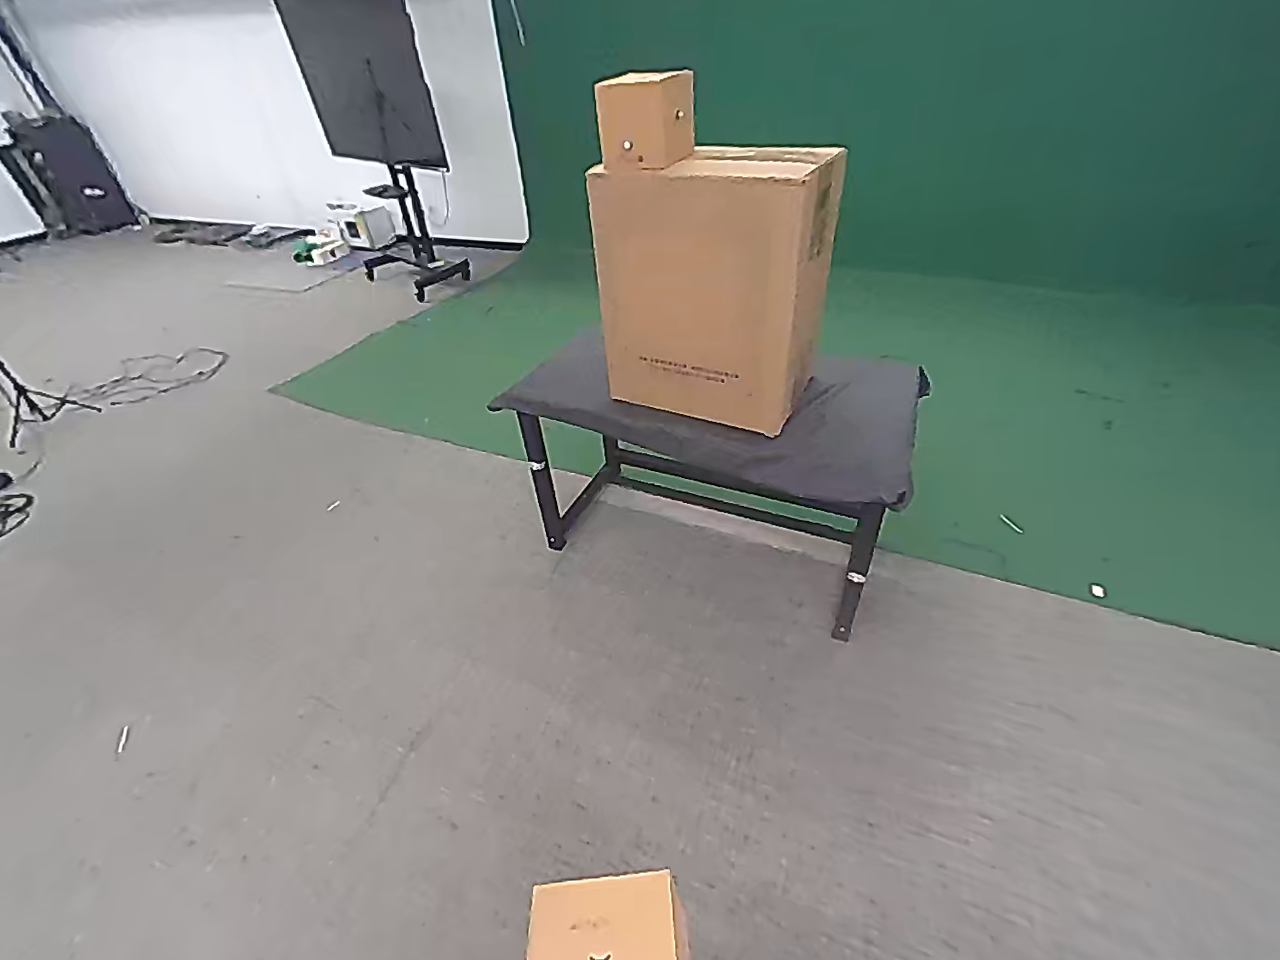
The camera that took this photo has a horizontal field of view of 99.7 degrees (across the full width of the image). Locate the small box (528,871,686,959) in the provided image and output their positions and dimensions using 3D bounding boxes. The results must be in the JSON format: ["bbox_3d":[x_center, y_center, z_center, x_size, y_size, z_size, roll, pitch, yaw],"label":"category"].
[{"bbox_3d":[-0.029,0.585,0.617,0.168,0.176,0.179,-8,36,1],"label":"small box"}]

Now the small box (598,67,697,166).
[{"bbox_3d":[0.022,-0.845,1.257,0.168,0.176,0.179,17,45,26],"label":"small box"}]
